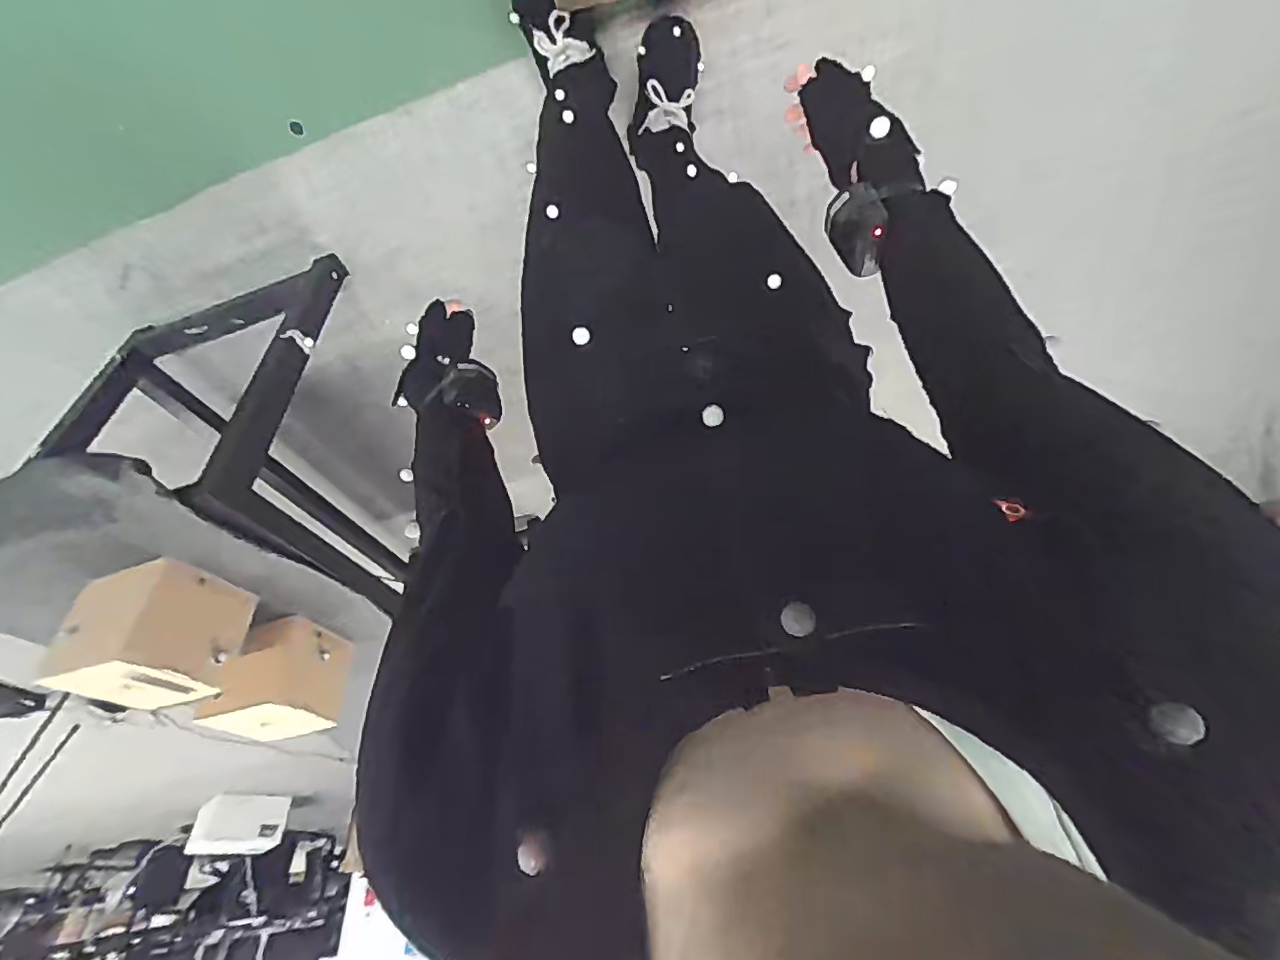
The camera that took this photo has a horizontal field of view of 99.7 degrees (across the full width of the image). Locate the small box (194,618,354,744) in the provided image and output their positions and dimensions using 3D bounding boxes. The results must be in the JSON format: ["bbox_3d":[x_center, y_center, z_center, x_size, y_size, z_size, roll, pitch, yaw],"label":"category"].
[{"bbox_3d":[-0.693,0.390,1.049,0.179,0.176,0.168,-17,140,9],"label":"small box"}]
